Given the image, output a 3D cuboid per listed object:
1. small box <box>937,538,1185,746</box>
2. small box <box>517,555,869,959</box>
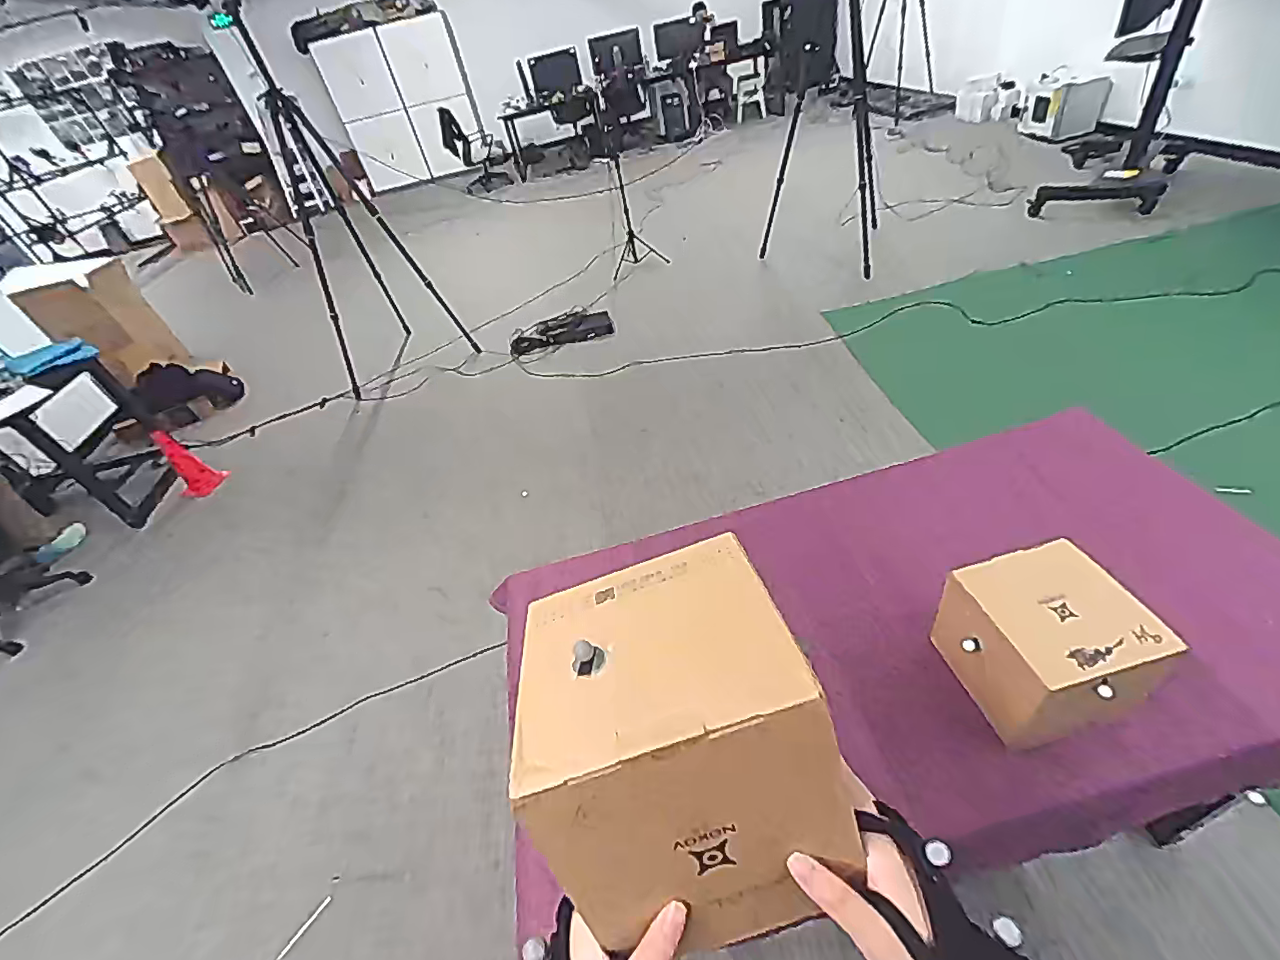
[{"bbox_3d":[0.519,0.210,0.705,0.168,0.176,0.179,-17,40,0],"label":"small box"},{"bbox_3d":[0.029,0.172,0.371,0.168,0.179,0.176,-19,25,2],"label":"small box"}]
